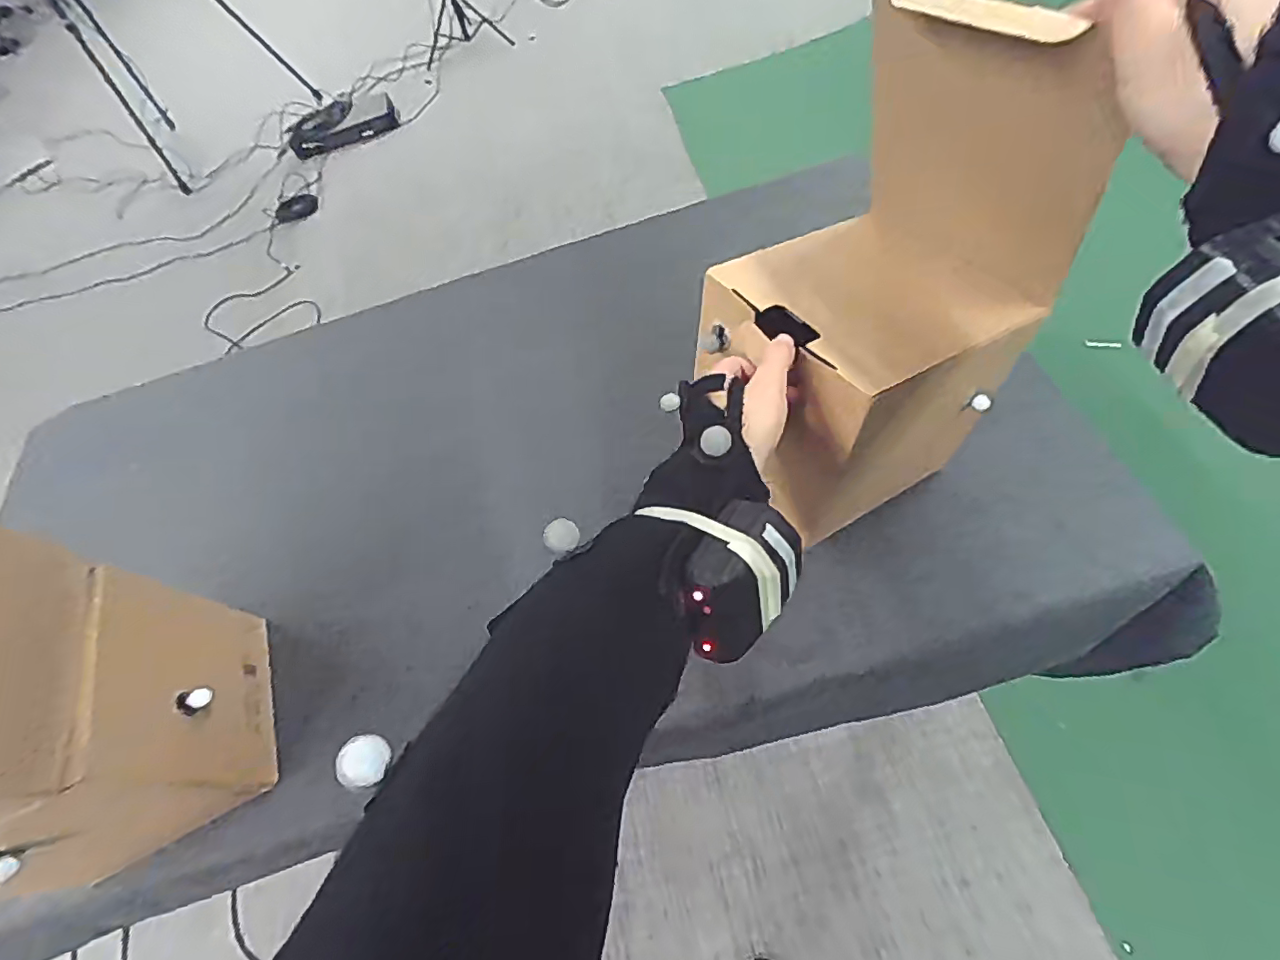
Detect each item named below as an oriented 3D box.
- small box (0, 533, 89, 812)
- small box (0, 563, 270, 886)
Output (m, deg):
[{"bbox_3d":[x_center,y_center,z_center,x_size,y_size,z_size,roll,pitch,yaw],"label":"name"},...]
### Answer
[{"bbox_3d":[-0.473,0.119,0.301,0.168,0.176,0.179,-25,58,-3],"label":"small box"},{"bbox_3d":[-0.436,0.198,0.438,0.179,0.176,0.168,-28,59,-3],"label":"small box"}]
